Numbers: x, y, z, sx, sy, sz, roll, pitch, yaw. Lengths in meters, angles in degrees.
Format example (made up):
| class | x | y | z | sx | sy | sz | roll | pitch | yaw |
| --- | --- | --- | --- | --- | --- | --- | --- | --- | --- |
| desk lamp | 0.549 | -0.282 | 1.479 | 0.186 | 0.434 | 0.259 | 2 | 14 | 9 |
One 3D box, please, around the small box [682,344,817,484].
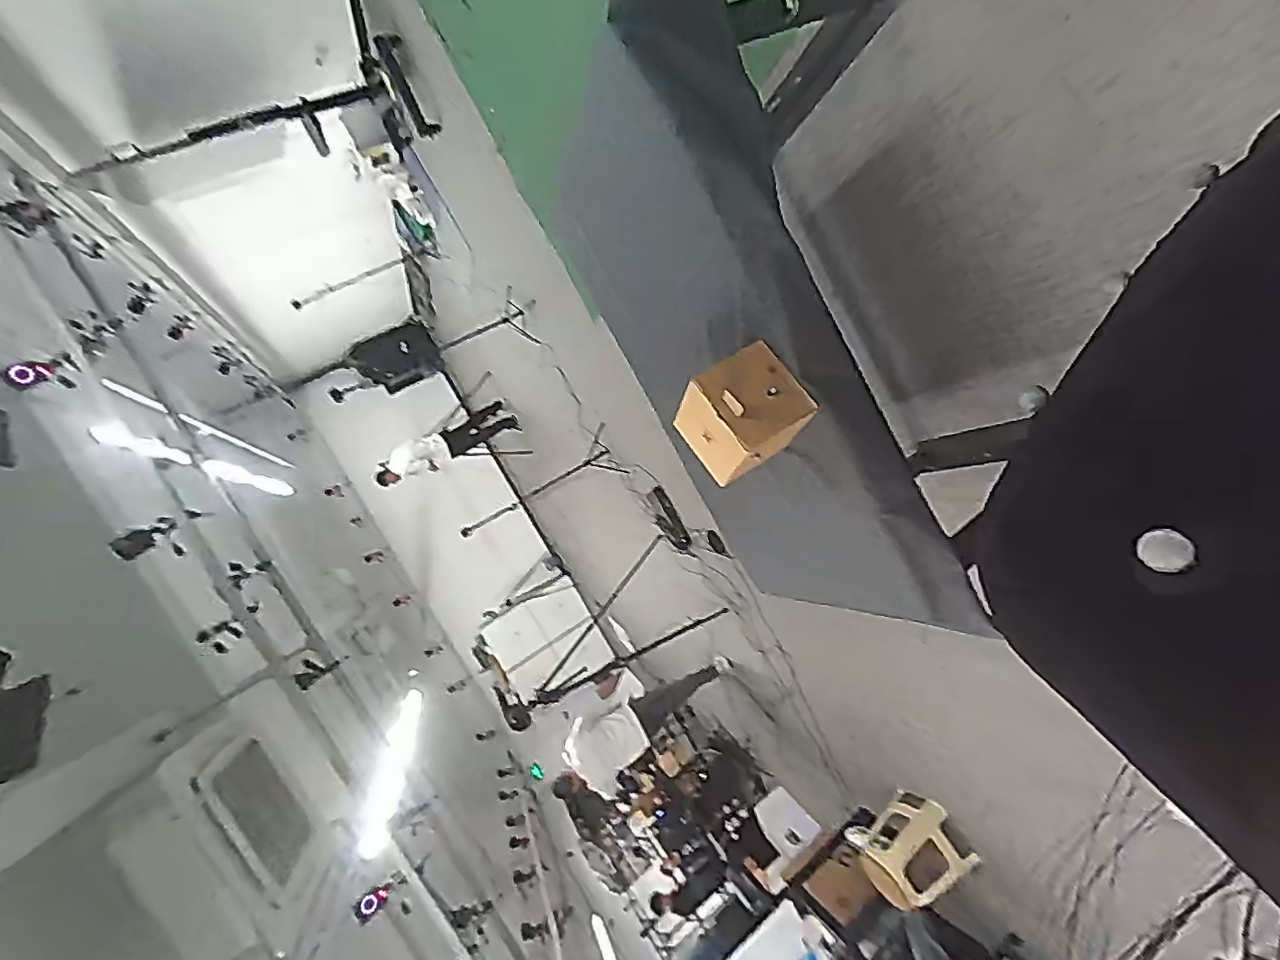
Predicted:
| class | x | y | z | sx | sy | sz | roll | pitch | yaw |
| --- | --- | --- | --- | --- | --- | --- | --- | --- | --- |
| small box | 0.205 | -0.124 | 1.033 | 0.168 | 0.176 | 0.179 | 54 | 162 | 14 |
